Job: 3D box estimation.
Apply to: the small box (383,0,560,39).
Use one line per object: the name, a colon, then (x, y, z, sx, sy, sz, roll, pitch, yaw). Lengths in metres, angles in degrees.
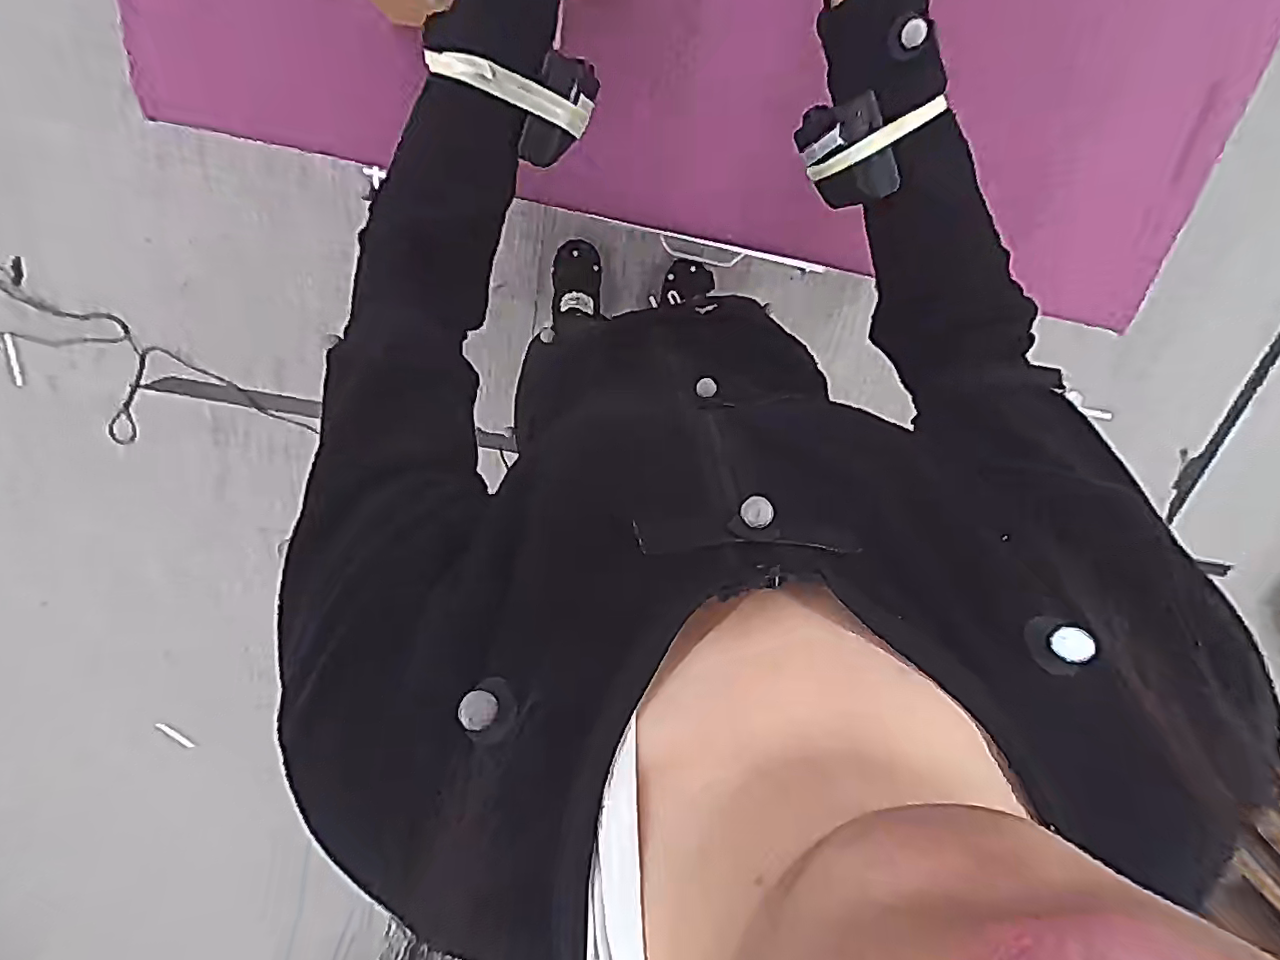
small box: (-0.153, -0.507, 0.456, 0.179, 0.176, 0.168, 6, 113, -6)
